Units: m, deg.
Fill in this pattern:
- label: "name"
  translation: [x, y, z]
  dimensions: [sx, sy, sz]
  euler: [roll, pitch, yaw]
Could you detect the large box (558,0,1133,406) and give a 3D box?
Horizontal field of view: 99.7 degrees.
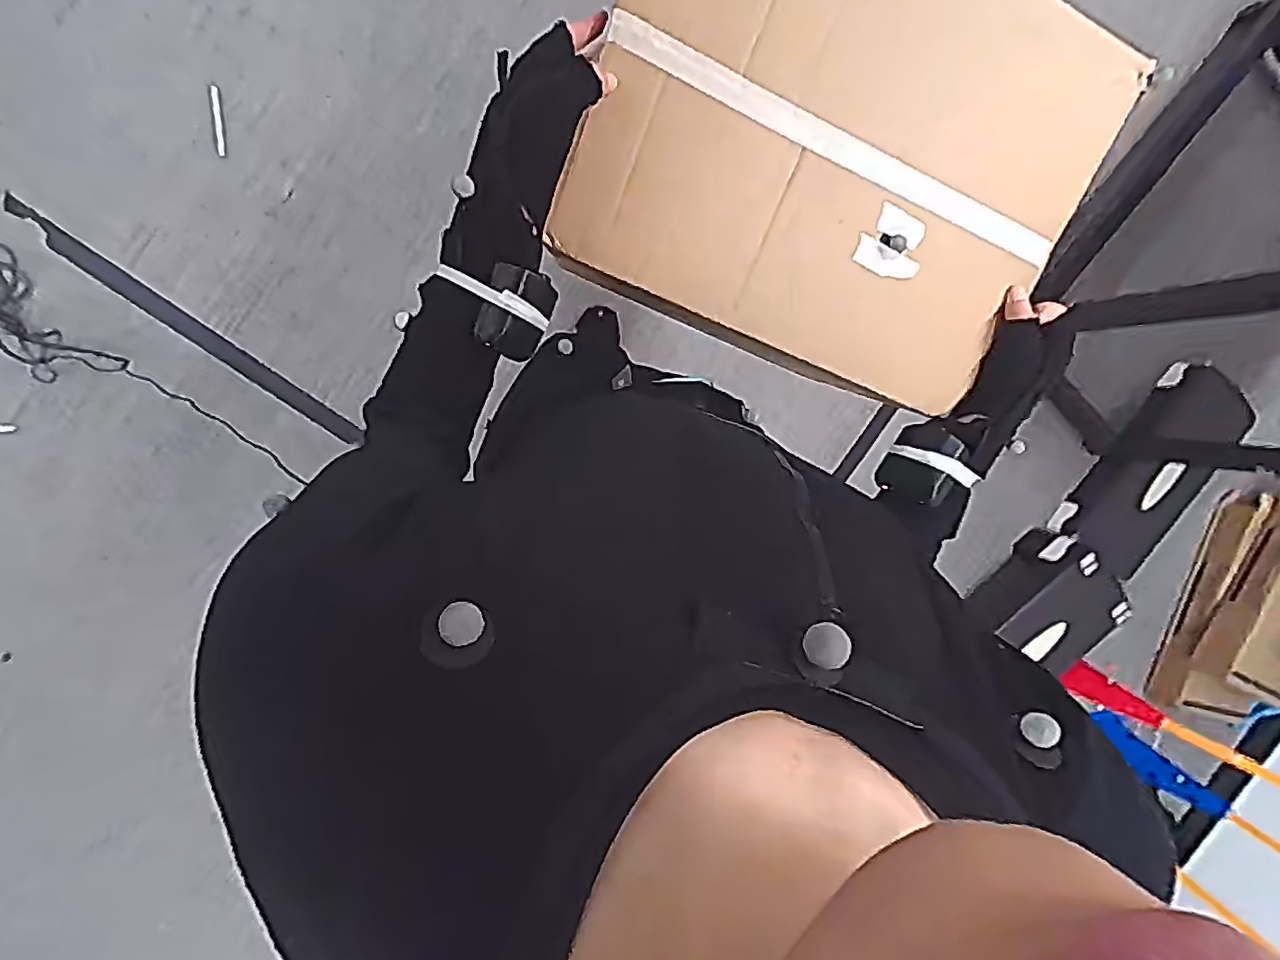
- label: "large box"
  translation: [0.151, -0.314, 0.580]
  dimensions: [0.408, 0.320, 0.320]
  euler: [20, 106, -13]
